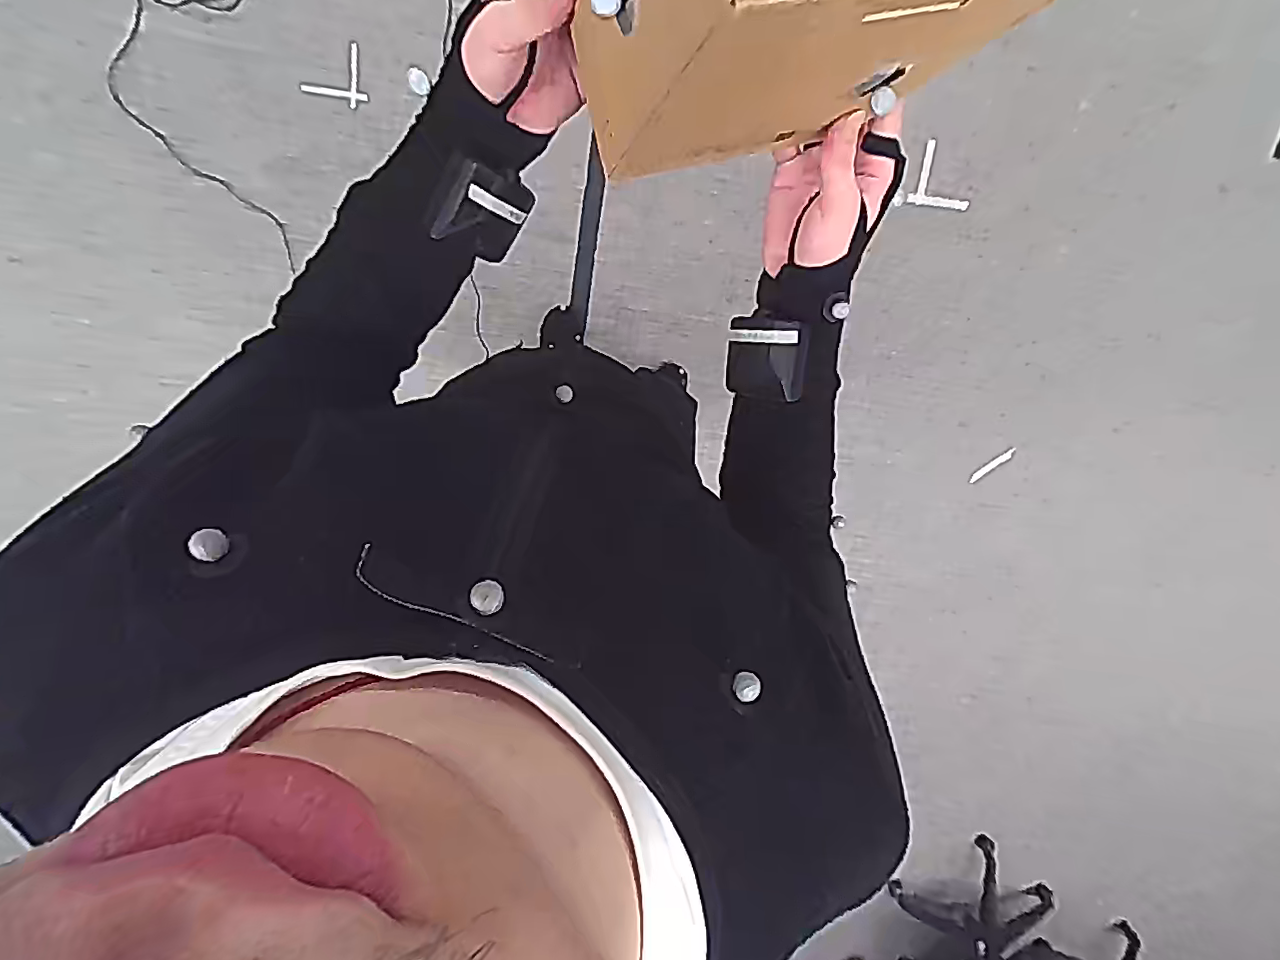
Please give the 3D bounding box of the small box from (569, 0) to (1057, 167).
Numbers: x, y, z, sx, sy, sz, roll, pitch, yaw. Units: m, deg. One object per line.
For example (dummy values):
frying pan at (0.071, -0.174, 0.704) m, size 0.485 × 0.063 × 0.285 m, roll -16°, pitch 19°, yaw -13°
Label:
small box at (0.061, -0.265, 0.243) m, size 0.168 × 0.176 × 0.179 m, roll -19°, pitch 106°, yaw -13°
